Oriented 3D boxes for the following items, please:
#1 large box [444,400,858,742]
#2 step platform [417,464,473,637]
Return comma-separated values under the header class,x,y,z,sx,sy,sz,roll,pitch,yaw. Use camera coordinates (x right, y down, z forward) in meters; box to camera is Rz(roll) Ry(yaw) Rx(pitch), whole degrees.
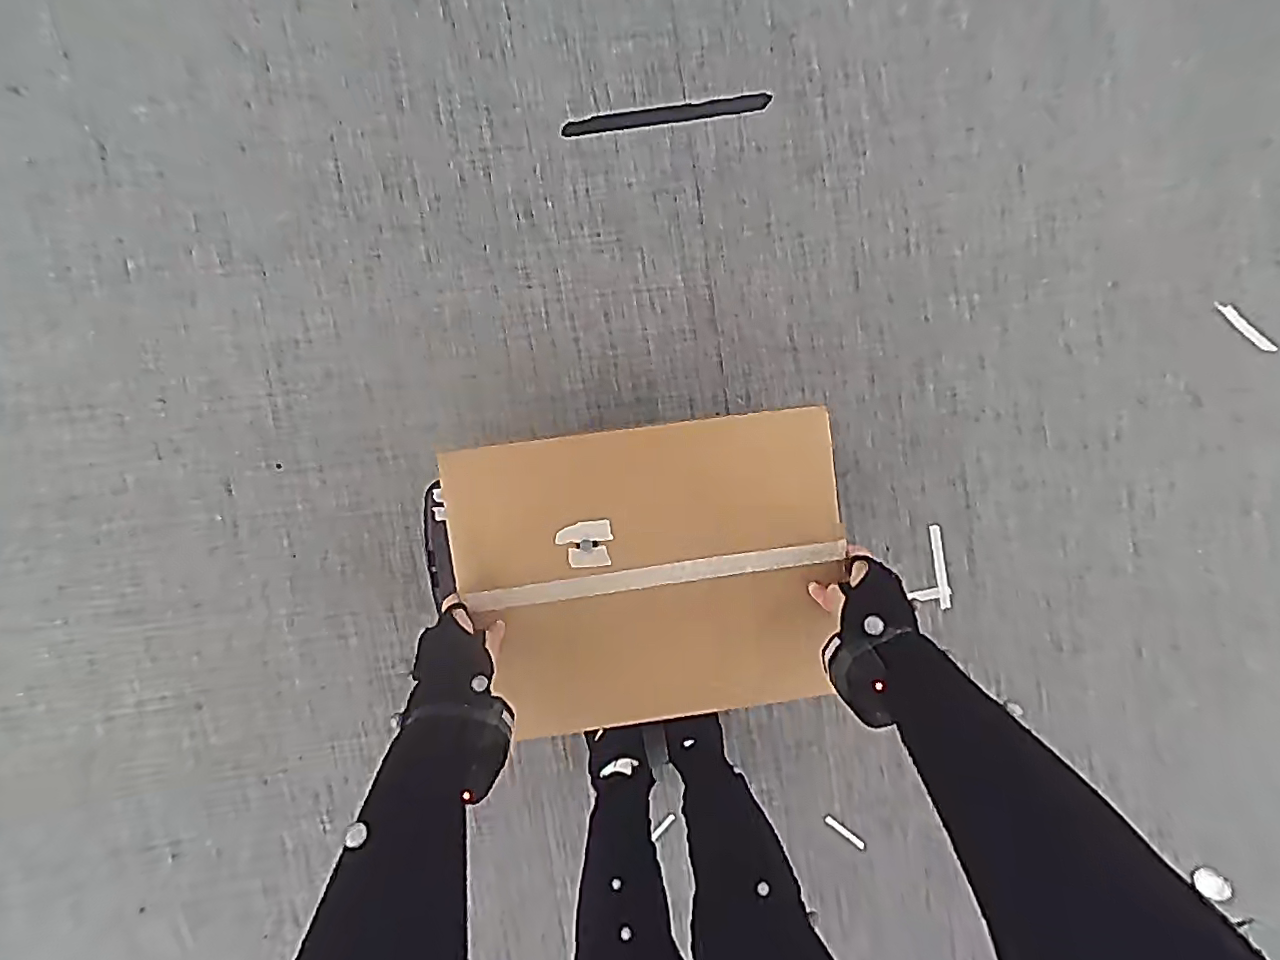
class,x,y,z,sx,sy,sz,roll,pitch,yaw
large box,0.014,0.086,0.710,0.408,0.320,0.320,-8,93,-1
step platform,-0.024,0.101,0.947,0.684,0.204,0.286,-2,94,-2
